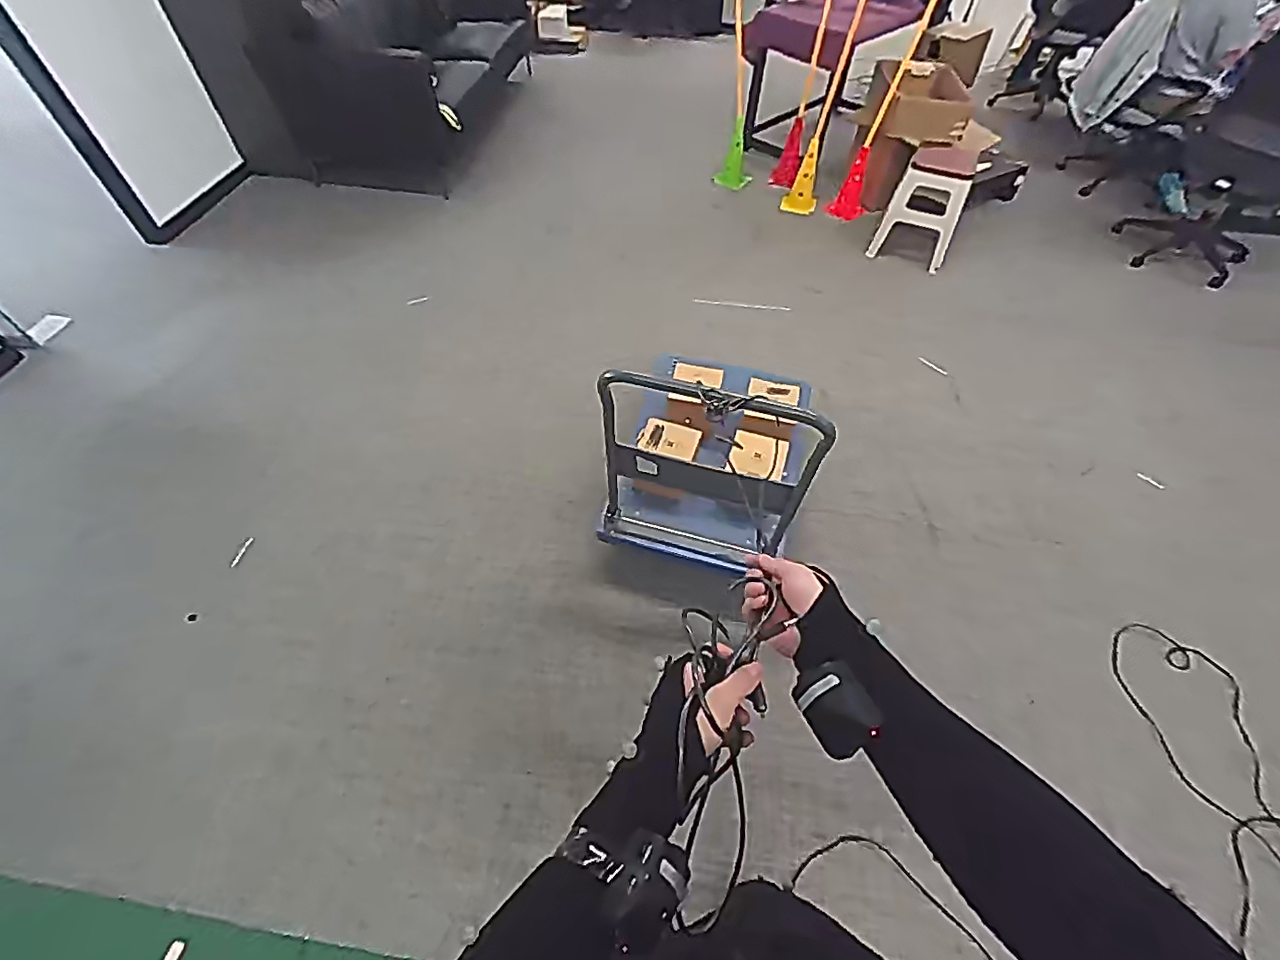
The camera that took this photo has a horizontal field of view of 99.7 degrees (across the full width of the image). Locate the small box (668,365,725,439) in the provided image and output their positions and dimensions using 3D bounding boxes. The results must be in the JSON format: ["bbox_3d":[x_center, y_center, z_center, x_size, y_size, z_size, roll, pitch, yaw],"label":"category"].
[{"bbox_3d":[0.193,-0.266,1.868,0.168,0.176,0.179,12,54,7],"label":"small box"}]

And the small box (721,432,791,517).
[{"bbox_3d":[0.358,-0.016,1.685,0.168,0.176,0.179,16,55,11],"label":"small box"}]

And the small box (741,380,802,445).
[{"bbox_3d":[0.438,-0.206,1.824,0.168,0.176,0.179,12,55,10],"label":"small box"}]
